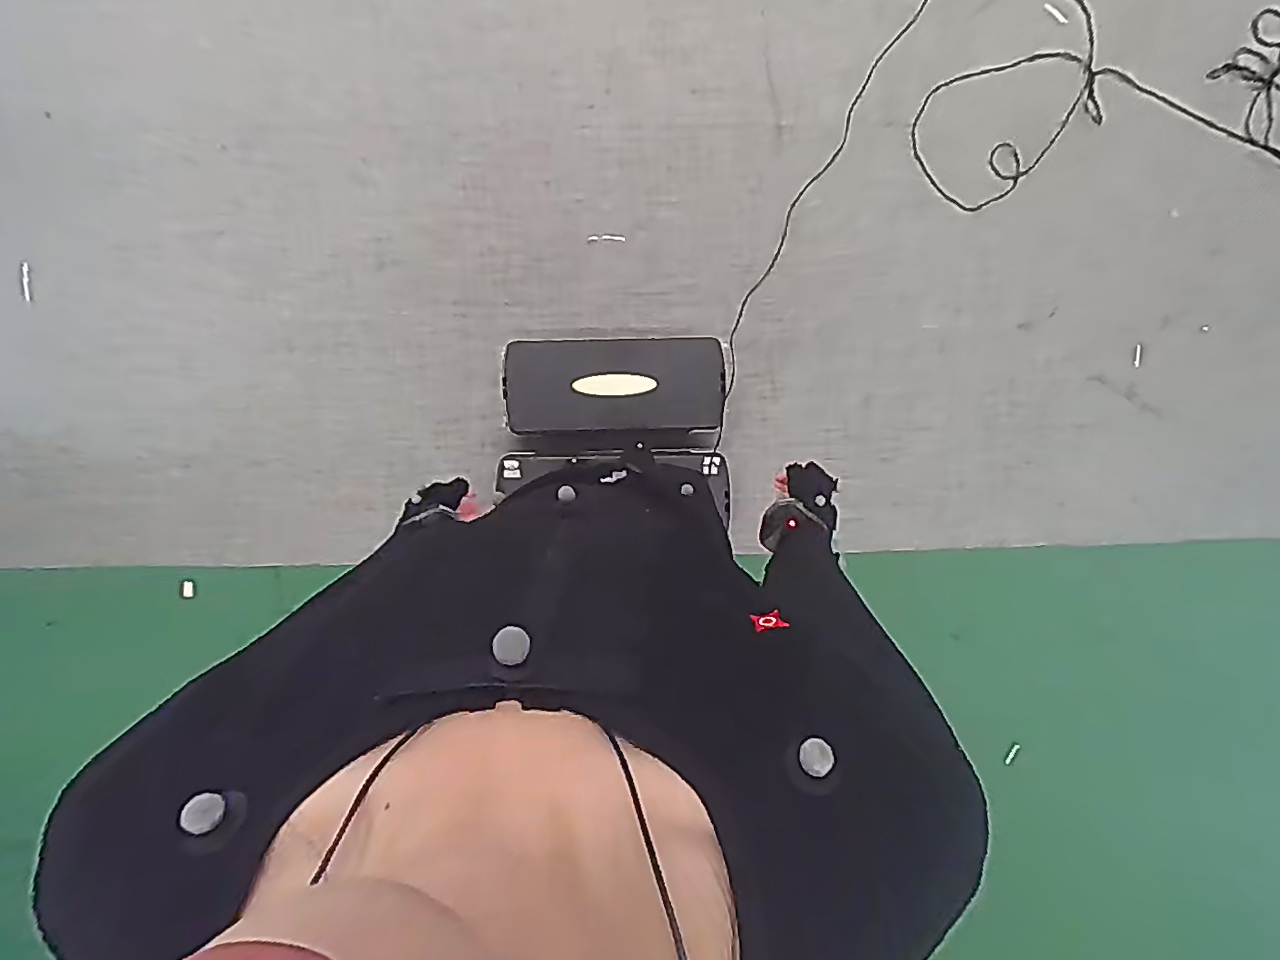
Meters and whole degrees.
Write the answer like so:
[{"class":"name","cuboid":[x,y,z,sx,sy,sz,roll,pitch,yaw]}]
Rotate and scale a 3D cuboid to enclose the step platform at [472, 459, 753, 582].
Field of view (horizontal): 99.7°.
[{"class":"step platform","cuboid":[-0.068,0.095,1.396,0.684,0.204,0.286,-1,92,-3]}]
